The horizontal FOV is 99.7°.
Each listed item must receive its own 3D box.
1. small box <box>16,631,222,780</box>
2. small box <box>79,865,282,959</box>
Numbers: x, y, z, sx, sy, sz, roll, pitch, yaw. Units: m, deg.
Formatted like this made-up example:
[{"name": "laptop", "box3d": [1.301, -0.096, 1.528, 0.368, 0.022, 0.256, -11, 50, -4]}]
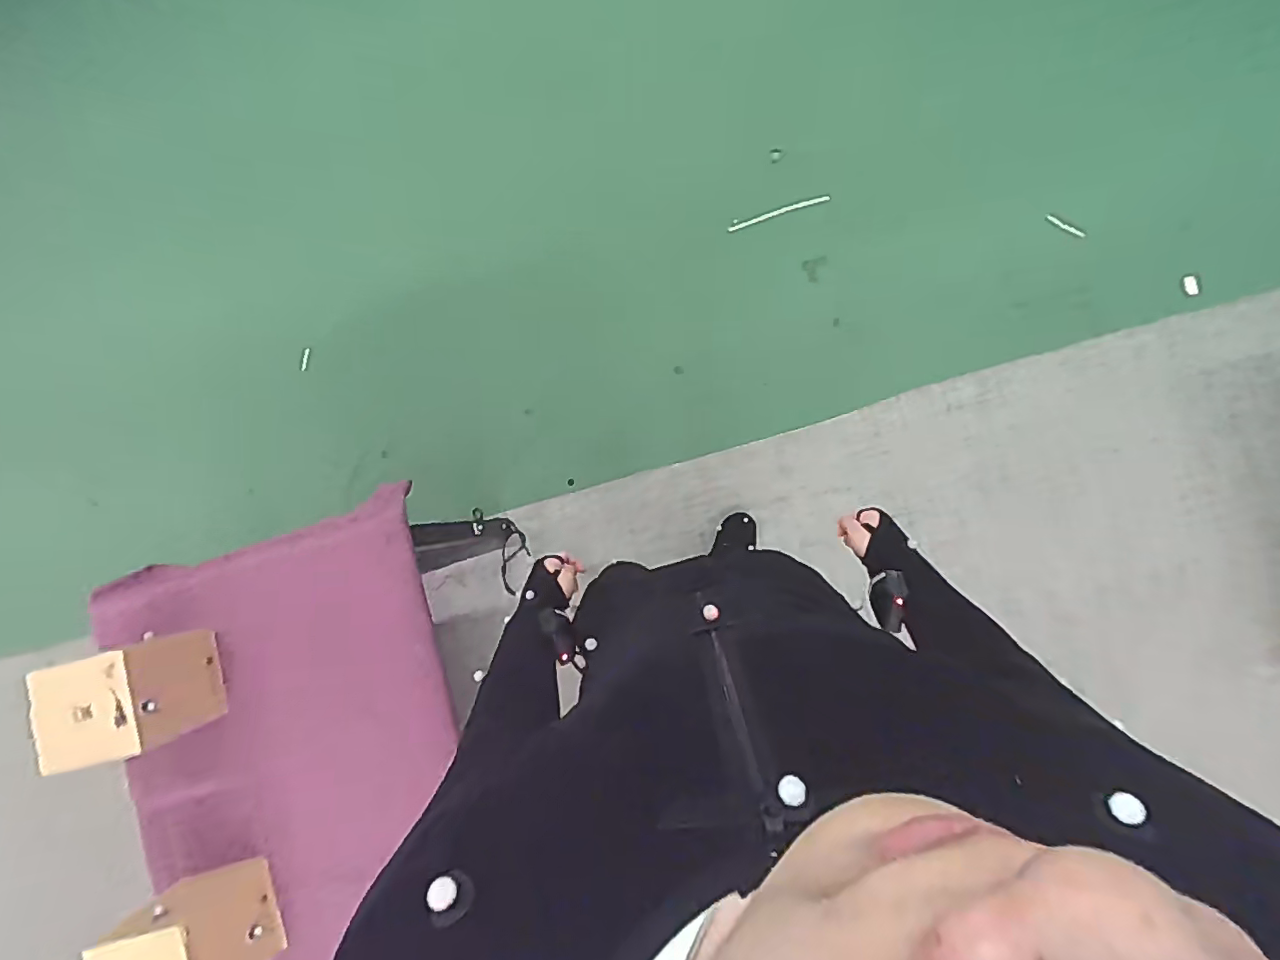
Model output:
[{"name": "small box", "box3d": [-0.863, 0.368, 0.911, 0.179, 0.176, 0.168, -15, 88, 4]}, {"name": "small box", "box3d": [-0.737, 0.778, 0.882, 0.179, 0.176, 0.168, -18, 85, 4]}]
